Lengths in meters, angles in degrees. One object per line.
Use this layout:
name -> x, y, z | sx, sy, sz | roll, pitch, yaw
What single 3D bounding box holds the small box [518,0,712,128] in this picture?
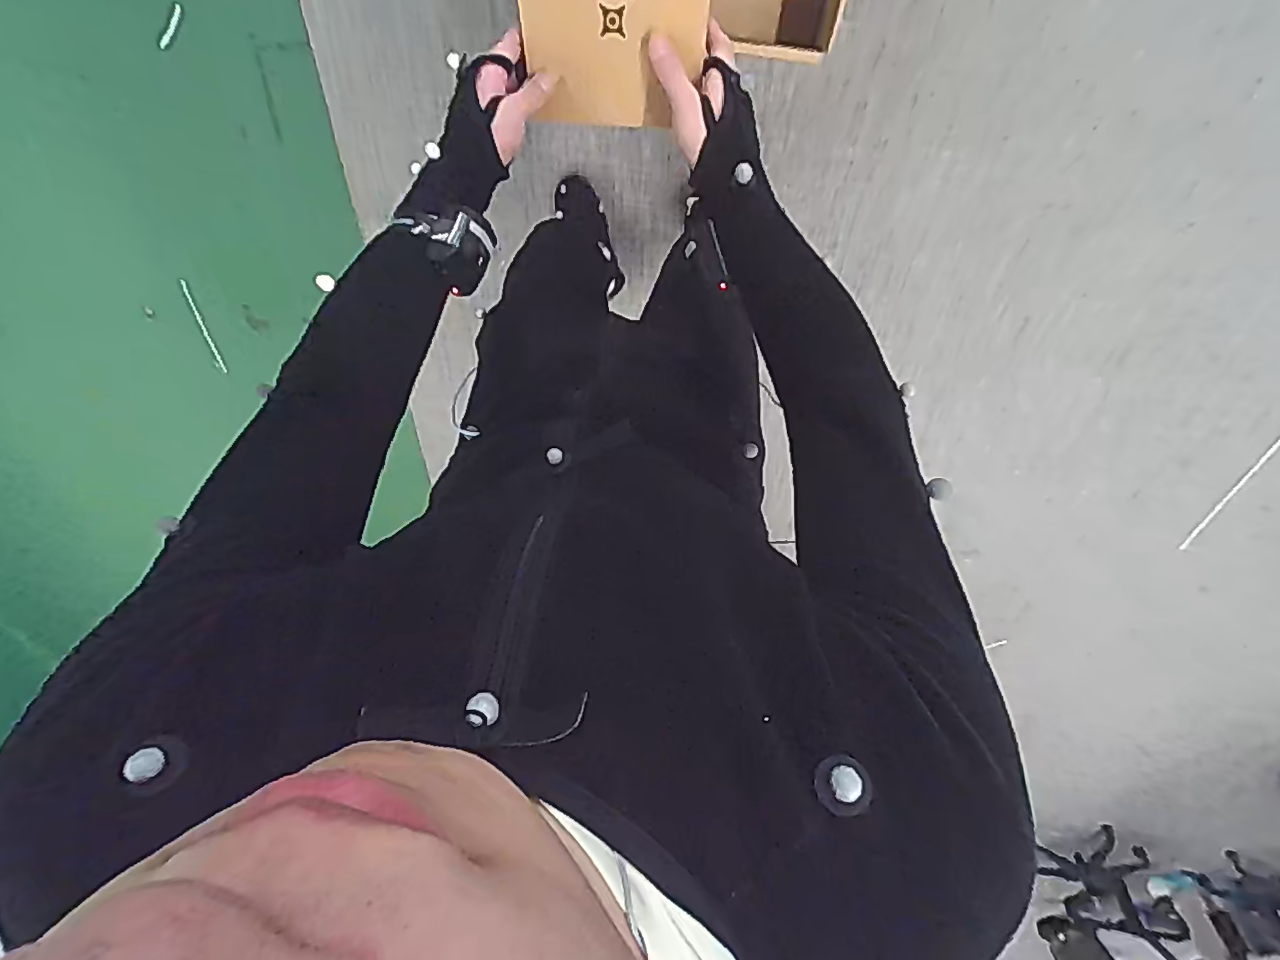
small box -> -0.015, -0.464, 0.503 | 0.168, 0.176, 0.179 | 5, 144, 2
